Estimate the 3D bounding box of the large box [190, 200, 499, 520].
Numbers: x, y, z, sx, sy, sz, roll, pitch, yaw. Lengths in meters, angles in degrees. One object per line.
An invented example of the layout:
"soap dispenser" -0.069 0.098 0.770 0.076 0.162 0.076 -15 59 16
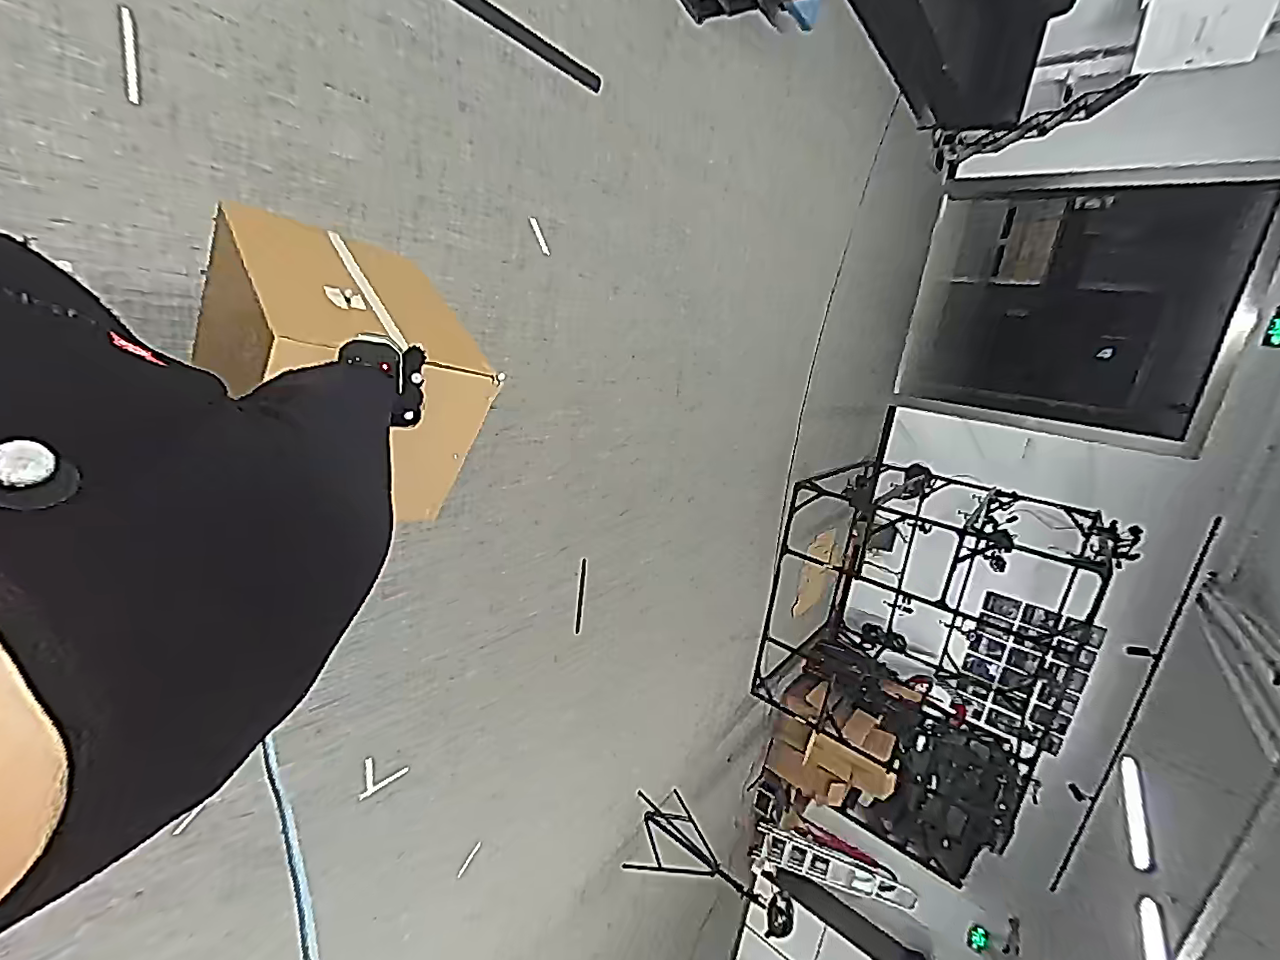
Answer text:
"large box" -0.512 -0.184 0.913 0.320 0.408 0.320 0 133 -49
